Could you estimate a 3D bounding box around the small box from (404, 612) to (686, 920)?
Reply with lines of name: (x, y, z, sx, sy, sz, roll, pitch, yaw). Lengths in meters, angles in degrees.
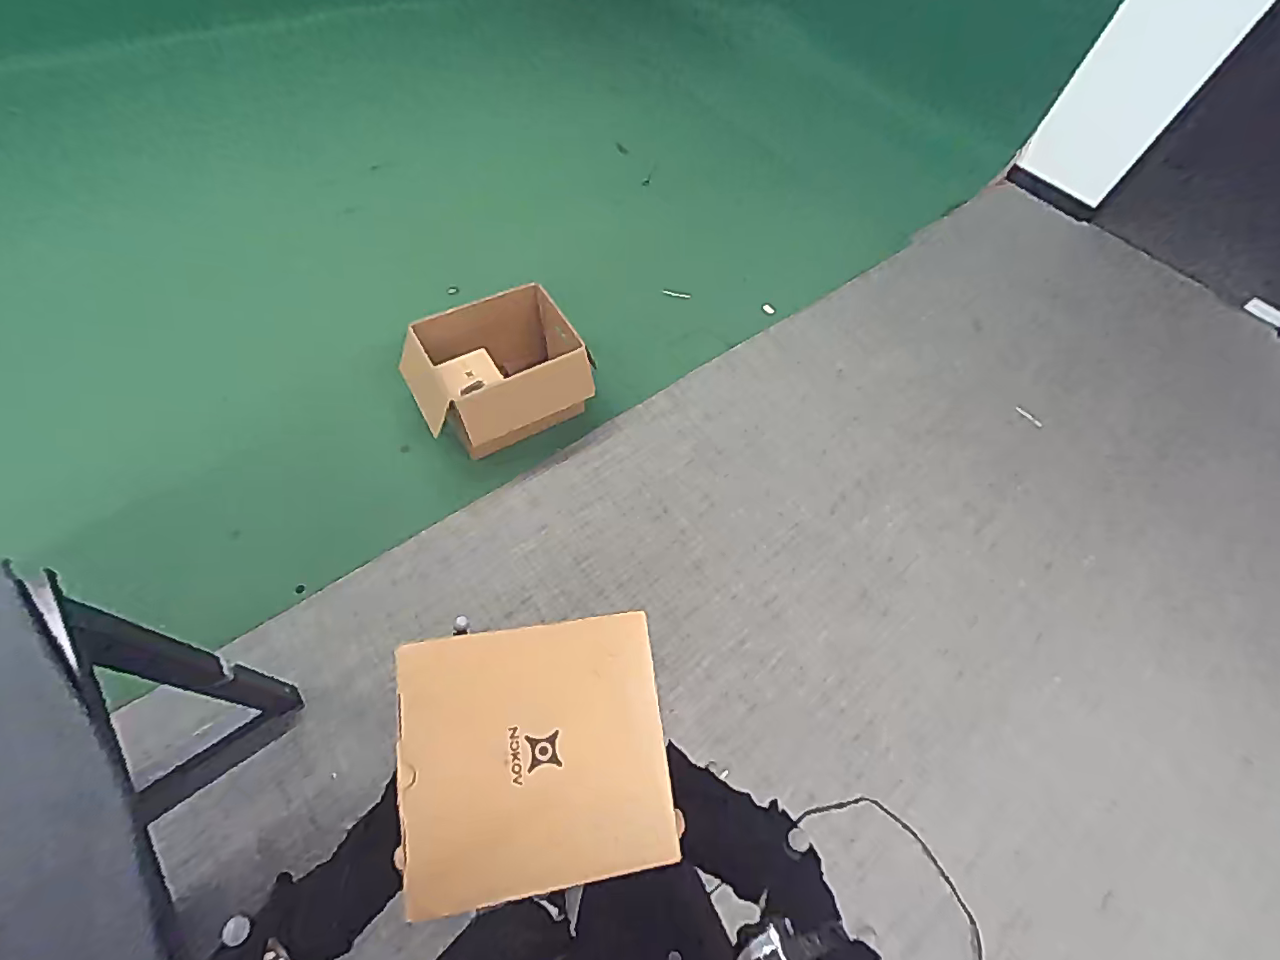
small box: (-0.076, 0.200, 0.436, 0.179, 0.176, 0.168, -6, 76, -10)
